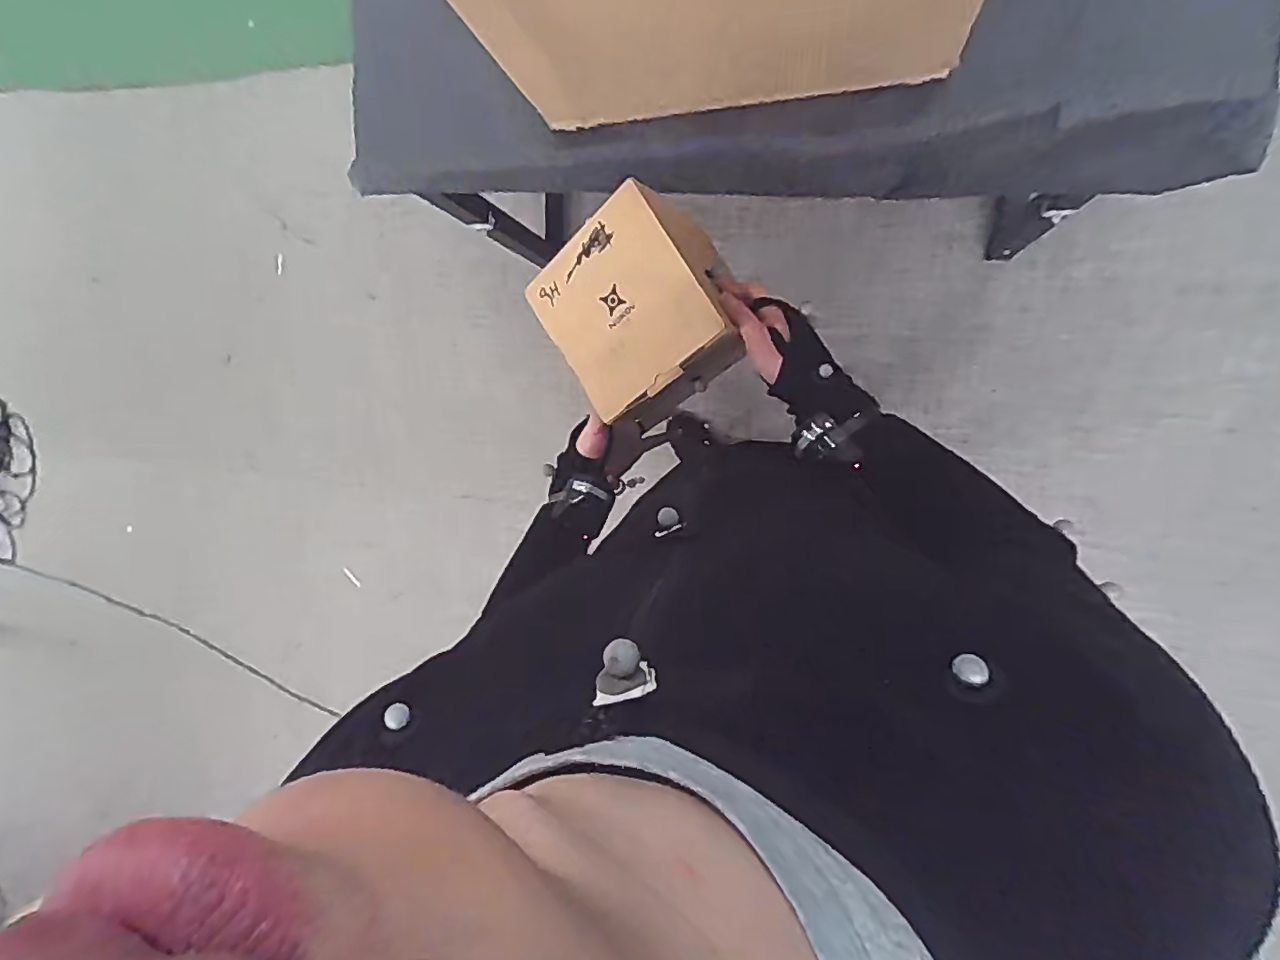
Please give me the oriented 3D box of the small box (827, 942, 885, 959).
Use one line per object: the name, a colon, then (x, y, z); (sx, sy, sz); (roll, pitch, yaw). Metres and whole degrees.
small box: (0.618, 1.470, 1.524); (0.168, 0.176, 0.179); (0, 96, 15)
